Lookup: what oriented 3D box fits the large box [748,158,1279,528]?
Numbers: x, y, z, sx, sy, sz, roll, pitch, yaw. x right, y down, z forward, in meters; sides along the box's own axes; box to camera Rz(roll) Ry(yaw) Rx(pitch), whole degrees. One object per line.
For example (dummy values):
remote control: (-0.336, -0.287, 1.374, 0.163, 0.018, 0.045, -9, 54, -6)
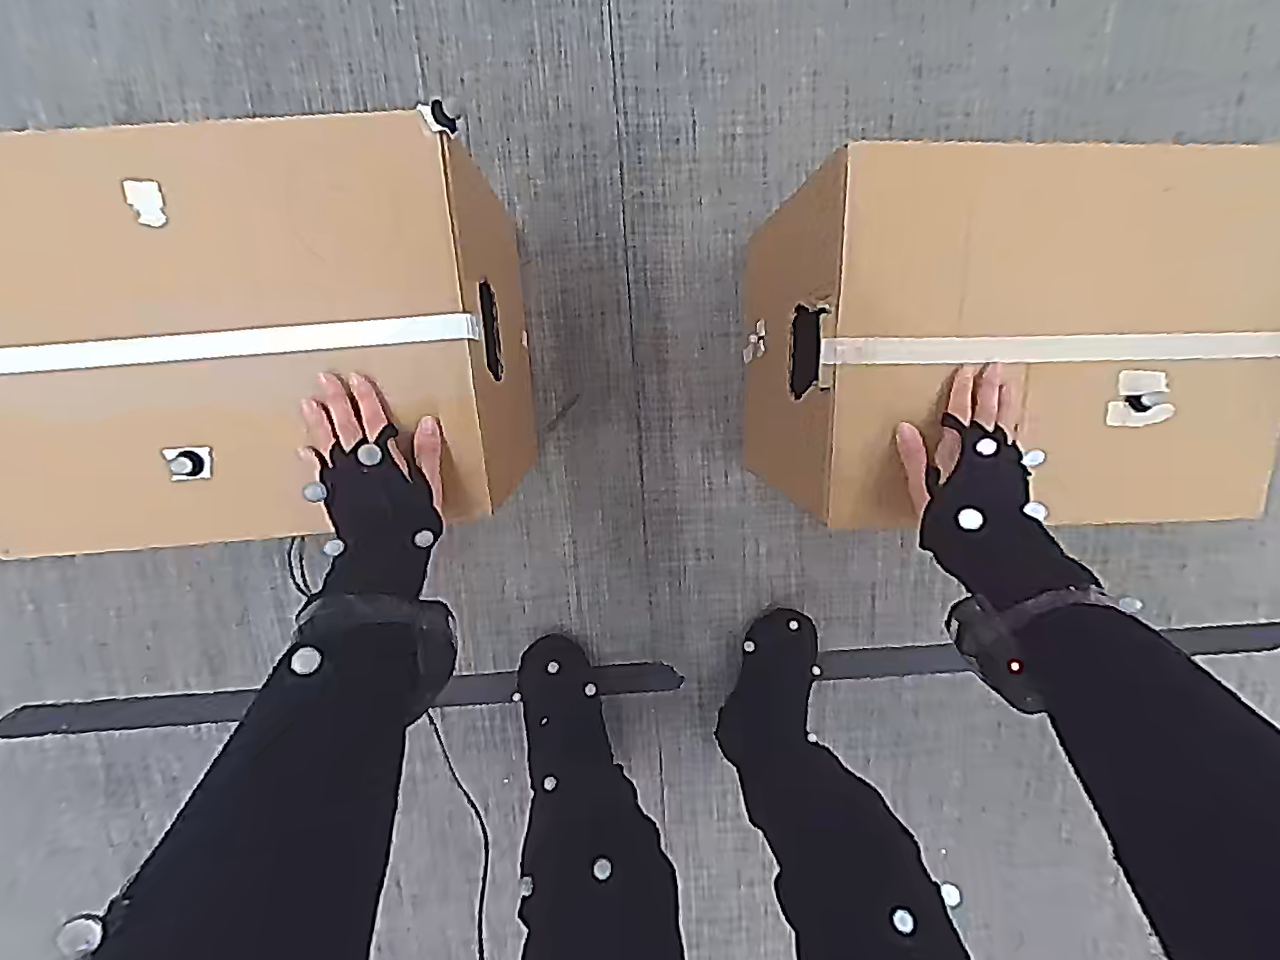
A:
large box: (0.356, -0.139, 0.619, 0.408, 0.320, 0.320, -1, 101, -3)
